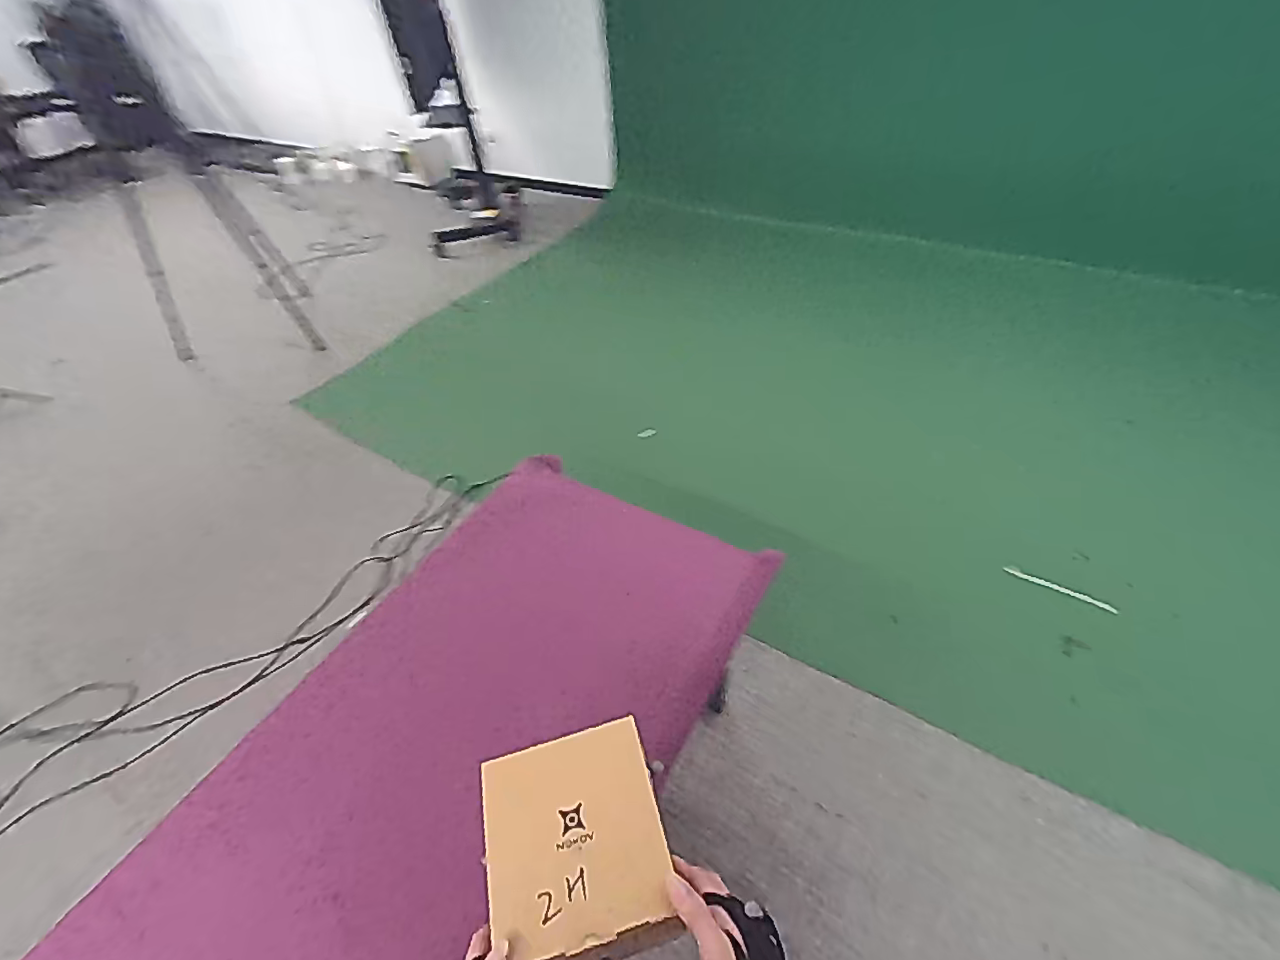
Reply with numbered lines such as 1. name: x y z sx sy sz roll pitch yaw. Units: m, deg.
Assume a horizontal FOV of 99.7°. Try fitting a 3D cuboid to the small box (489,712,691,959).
1. small box: -0.051 0.378 0.561 0.168 0.176 0.179 -14 45 -6
